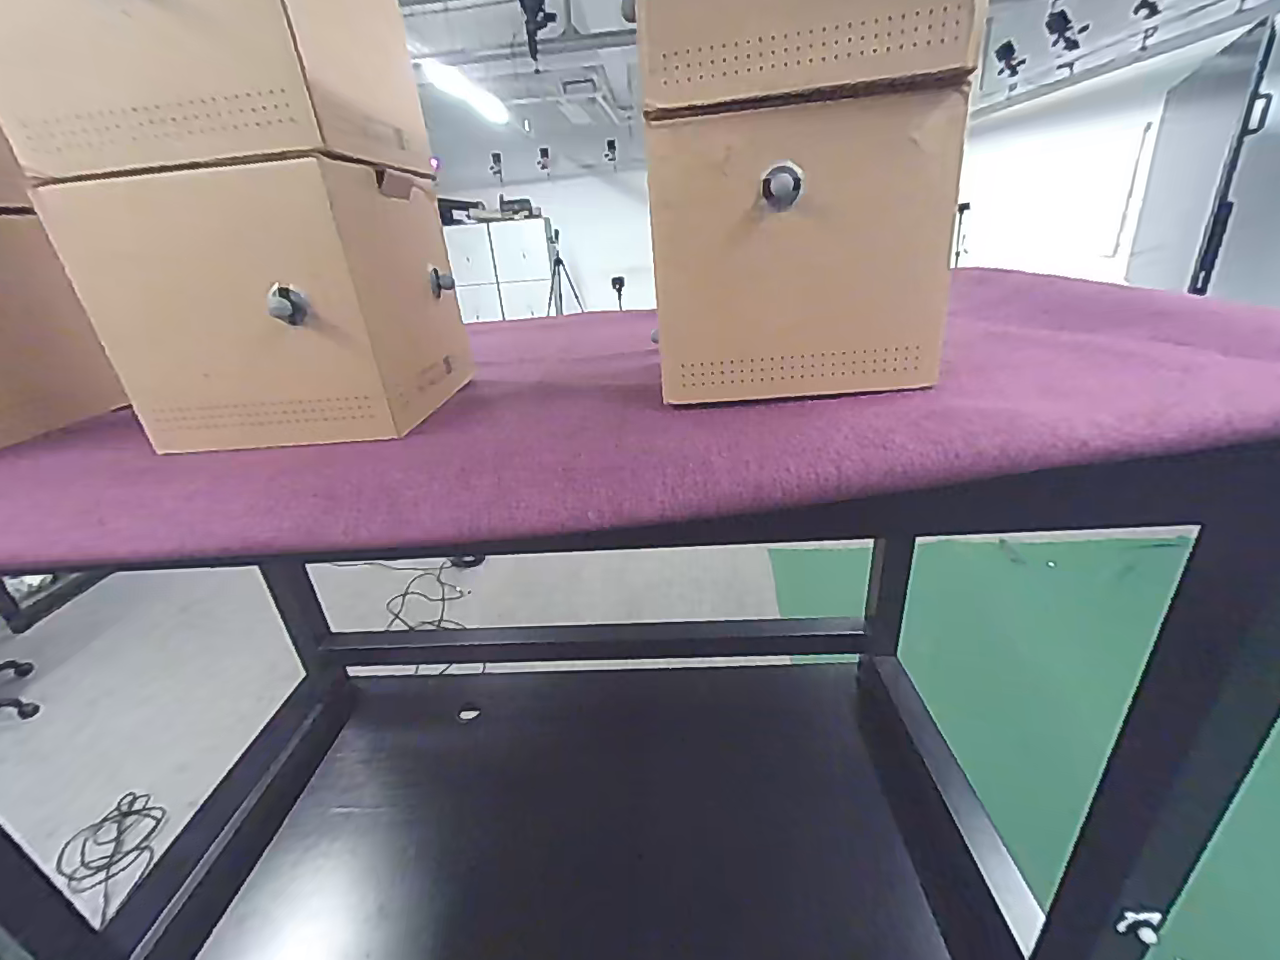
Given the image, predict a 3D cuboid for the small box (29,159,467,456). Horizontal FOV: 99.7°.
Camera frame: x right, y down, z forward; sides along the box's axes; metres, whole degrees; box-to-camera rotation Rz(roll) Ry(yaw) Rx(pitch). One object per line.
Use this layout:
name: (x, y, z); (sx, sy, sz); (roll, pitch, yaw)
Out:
small box: (-0.247, -0.126, 0.401); (0.179, 0.176, 0.168); (-4, 25, 4)

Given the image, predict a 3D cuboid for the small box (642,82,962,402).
small box: (0.100, -0.158, 0.396); (0.179, 0.176, 0.168); (-2, 23, 6)

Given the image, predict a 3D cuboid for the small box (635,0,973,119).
small box: (0.089, -0.307, 0.328); (0.179, 0.176, 0.168); (-2, 23, 9)
